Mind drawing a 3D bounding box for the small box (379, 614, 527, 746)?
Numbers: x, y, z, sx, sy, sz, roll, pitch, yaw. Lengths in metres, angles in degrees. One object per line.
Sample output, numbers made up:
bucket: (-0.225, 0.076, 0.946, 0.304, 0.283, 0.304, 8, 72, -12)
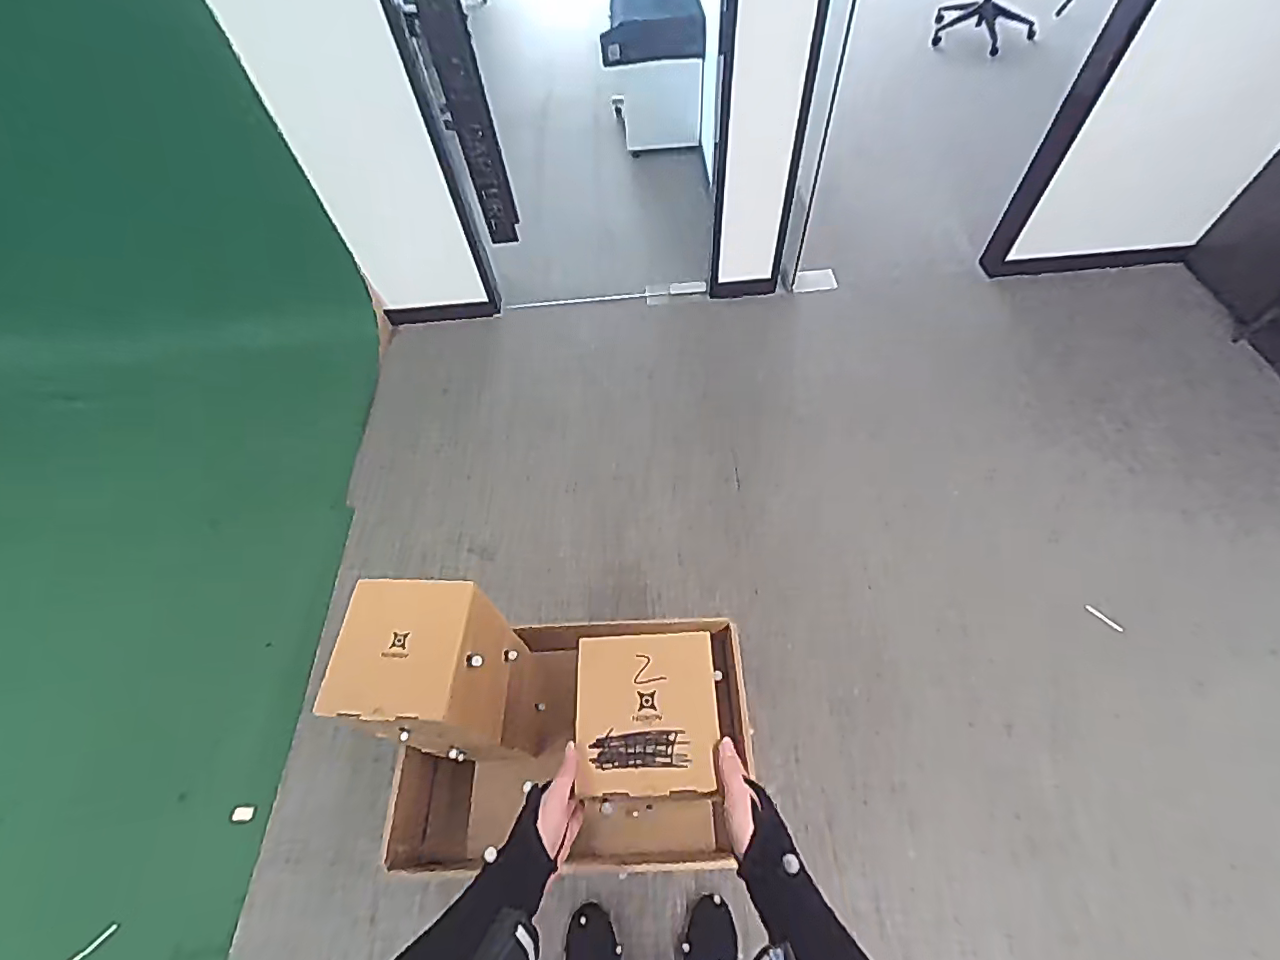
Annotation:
small box: (-0.293, 0.330, 0.893, 0.168, 0.176, 0.179, 0, 58, 4)

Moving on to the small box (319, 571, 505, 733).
small box: (-0.298, 0.243, 0.757, 0.168, 0.176, 0.179, 1, 59, 4)

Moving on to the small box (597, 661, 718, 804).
small box: (0.023, 0.392, 0.834, 0.168, 0.176, 0.179, -4, 58, 1)

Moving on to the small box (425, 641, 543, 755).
small box: (-0.285, 0.418, 1.032, 0.168, 0.176, 0.179, -2, 58, 3)
